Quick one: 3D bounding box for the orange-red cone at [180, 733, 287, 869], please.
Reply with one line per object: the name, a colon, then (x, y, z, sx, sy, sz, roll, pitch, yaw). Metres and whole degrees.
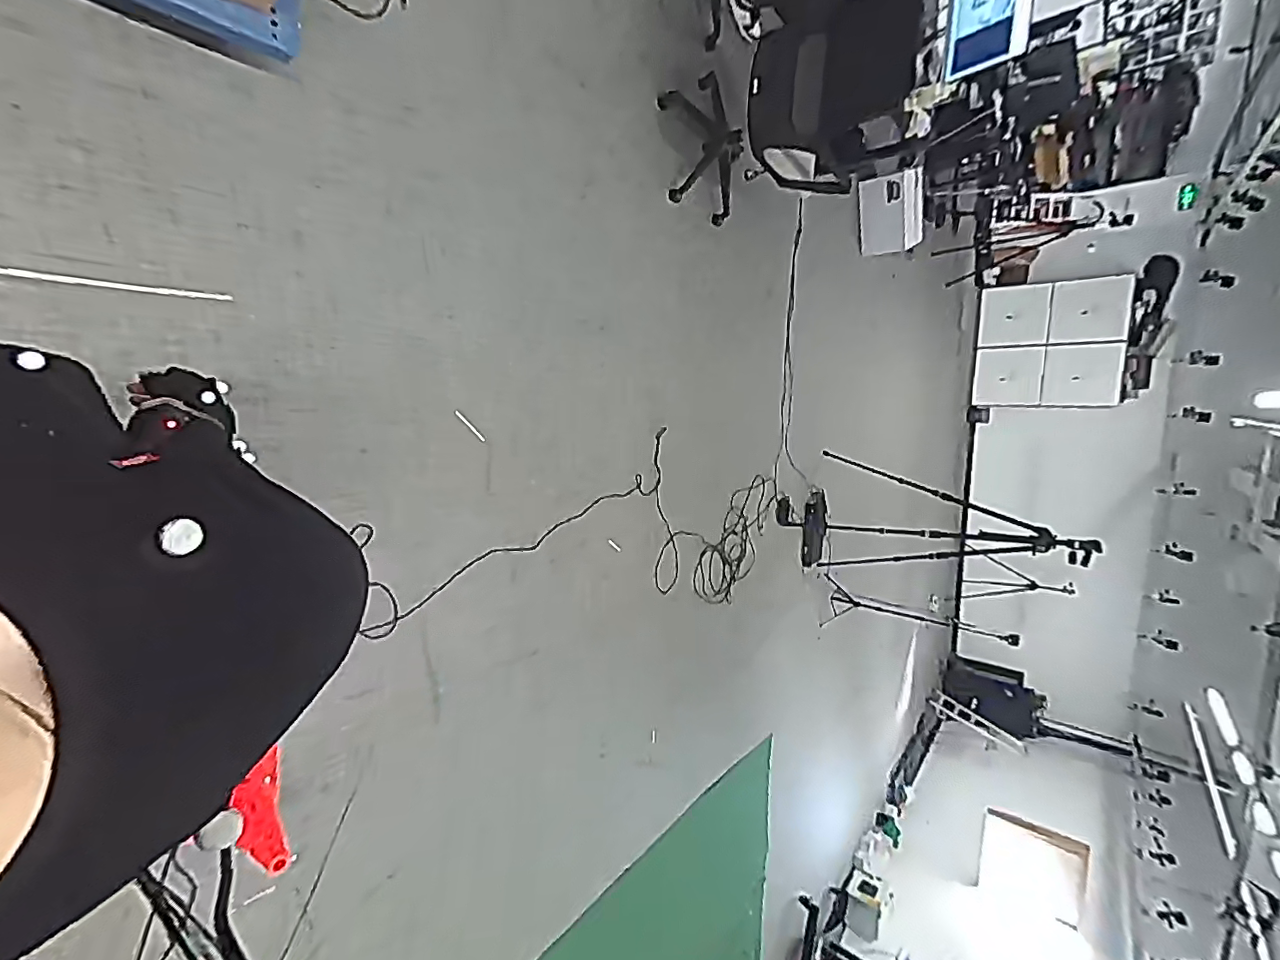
orange-red cone: (-0.883, 0.767, 1.230, 0.198, 0.360, 0.199, -1, 98, -50)
